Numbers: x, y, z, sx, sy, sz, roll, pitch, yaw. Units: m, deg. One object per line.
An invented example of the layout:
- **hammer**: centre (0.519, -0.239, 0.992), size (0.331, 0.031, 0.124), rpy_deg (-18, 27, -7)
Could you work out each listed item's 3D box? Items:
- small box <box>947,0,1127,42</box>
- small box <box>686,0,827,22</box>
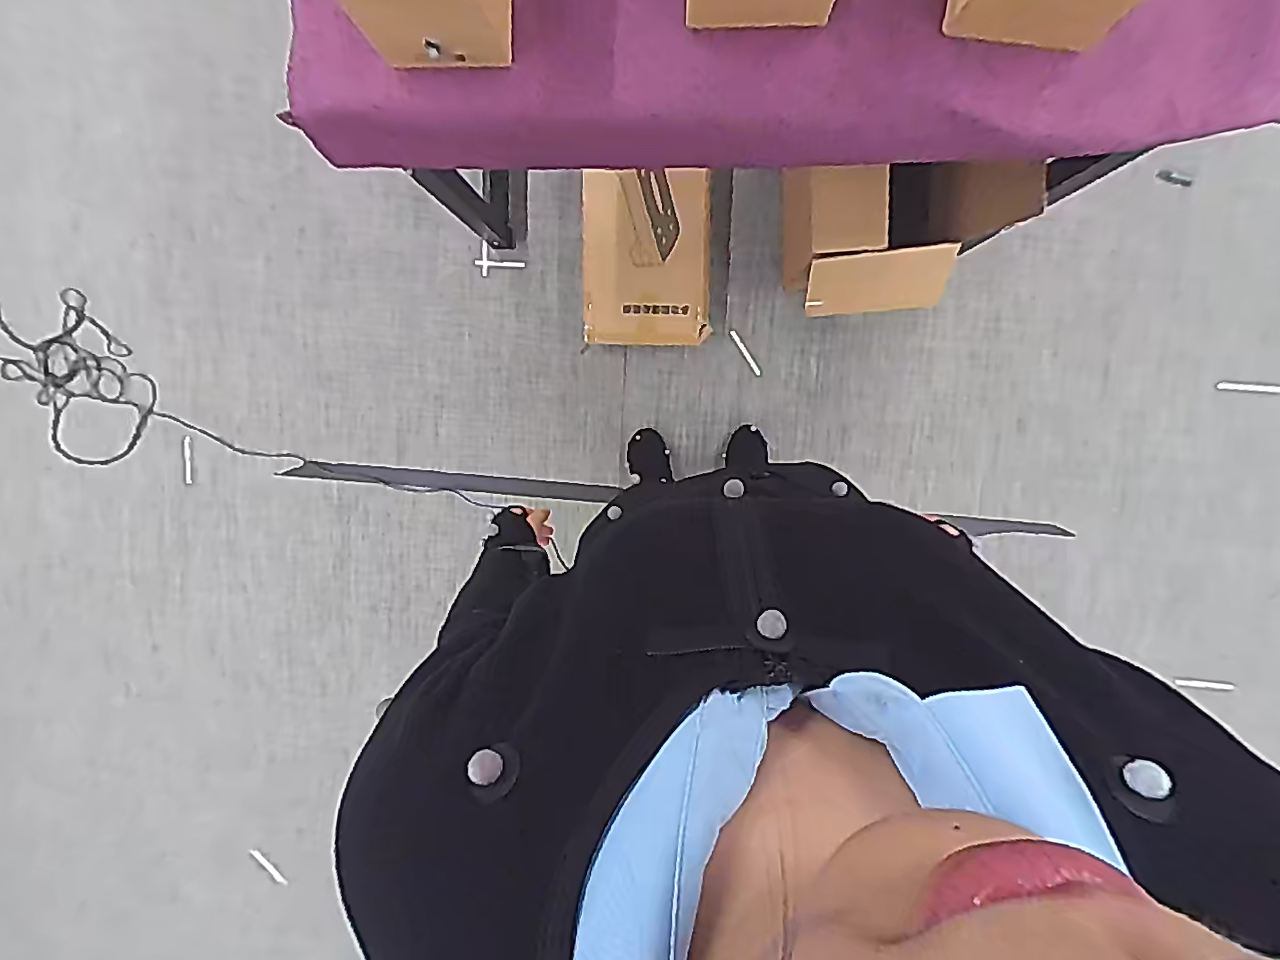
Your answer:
- **small box**: centre (0.460, -0.606, 0.567), size (0.179, 0.176, 0.168), rpy_deg (9, 98, 2)
- **small box**: centre (0.143, -0.639, 0.582), size (0.179, 0.176, 0.168), rpy_deg (2, 95, 4)
